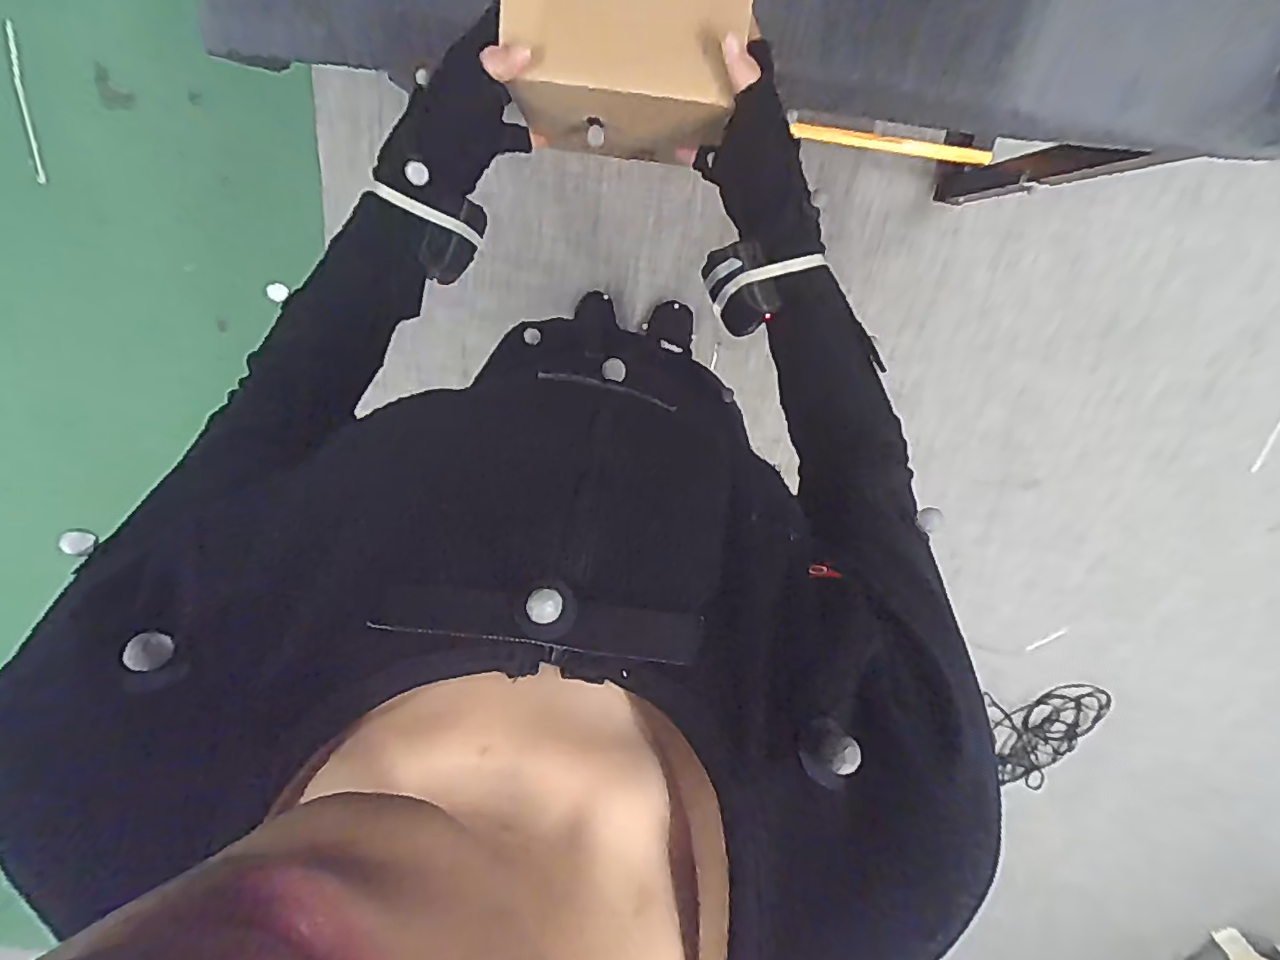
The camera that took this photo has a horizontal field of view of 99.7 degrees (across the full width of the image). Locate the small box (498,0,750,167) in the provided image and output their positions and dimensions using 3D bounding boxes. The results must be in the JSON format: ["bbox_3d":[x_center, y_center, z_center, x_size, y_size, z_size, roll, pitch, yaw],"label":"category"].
[{"bbox_3d":[-0.004,-0.366,0.419,0.168,0.176,0.179,6,105,-1],"label":"small box"}]
